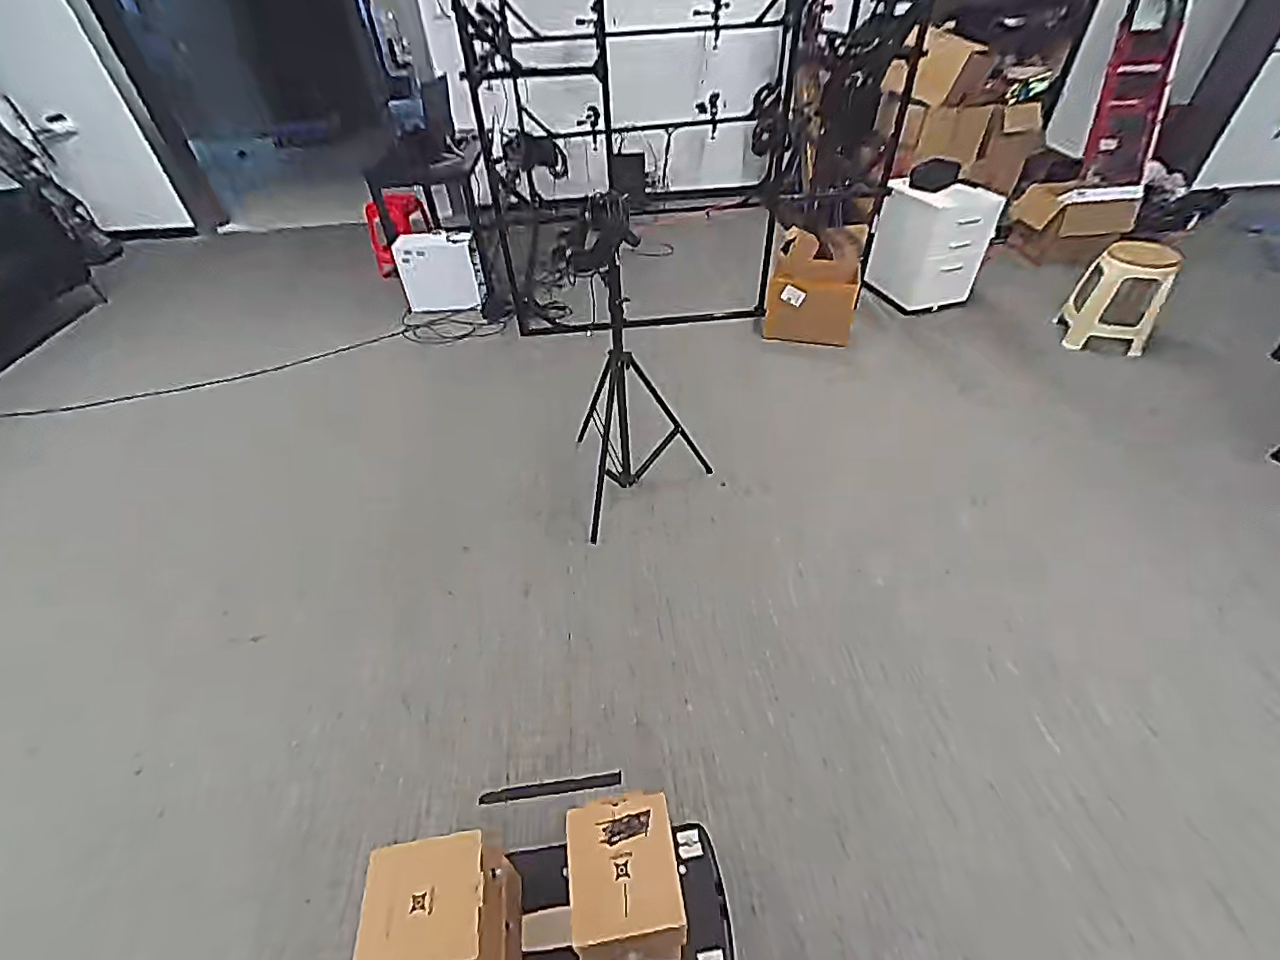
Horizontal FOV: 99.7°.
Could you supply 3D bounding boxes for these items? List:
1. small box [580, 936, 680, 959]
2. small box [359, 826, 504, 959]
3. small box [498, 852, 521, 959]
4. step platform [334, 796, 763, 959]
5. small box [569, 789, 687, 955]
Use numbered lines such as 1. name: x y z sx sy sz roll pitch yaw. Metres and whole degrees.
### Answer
1. small box: -0.023 0.764 0.994 0.168 0.176 0.179 -8 43 -4
2. small box: -0.316 0.682 0.860 0.179 0.176 0.168 -9 42 -6
3. small box: -0.310 0.802 0.973 0.179 0.176 0.168 -7 43 -6
4. step platform: -0.149 0.779 0.933 0.684 0.204 0.286 -6 42 -5
5. small box: -0.021 0.641 0.885 0.168 0.176 0.179 -8 44 -5
